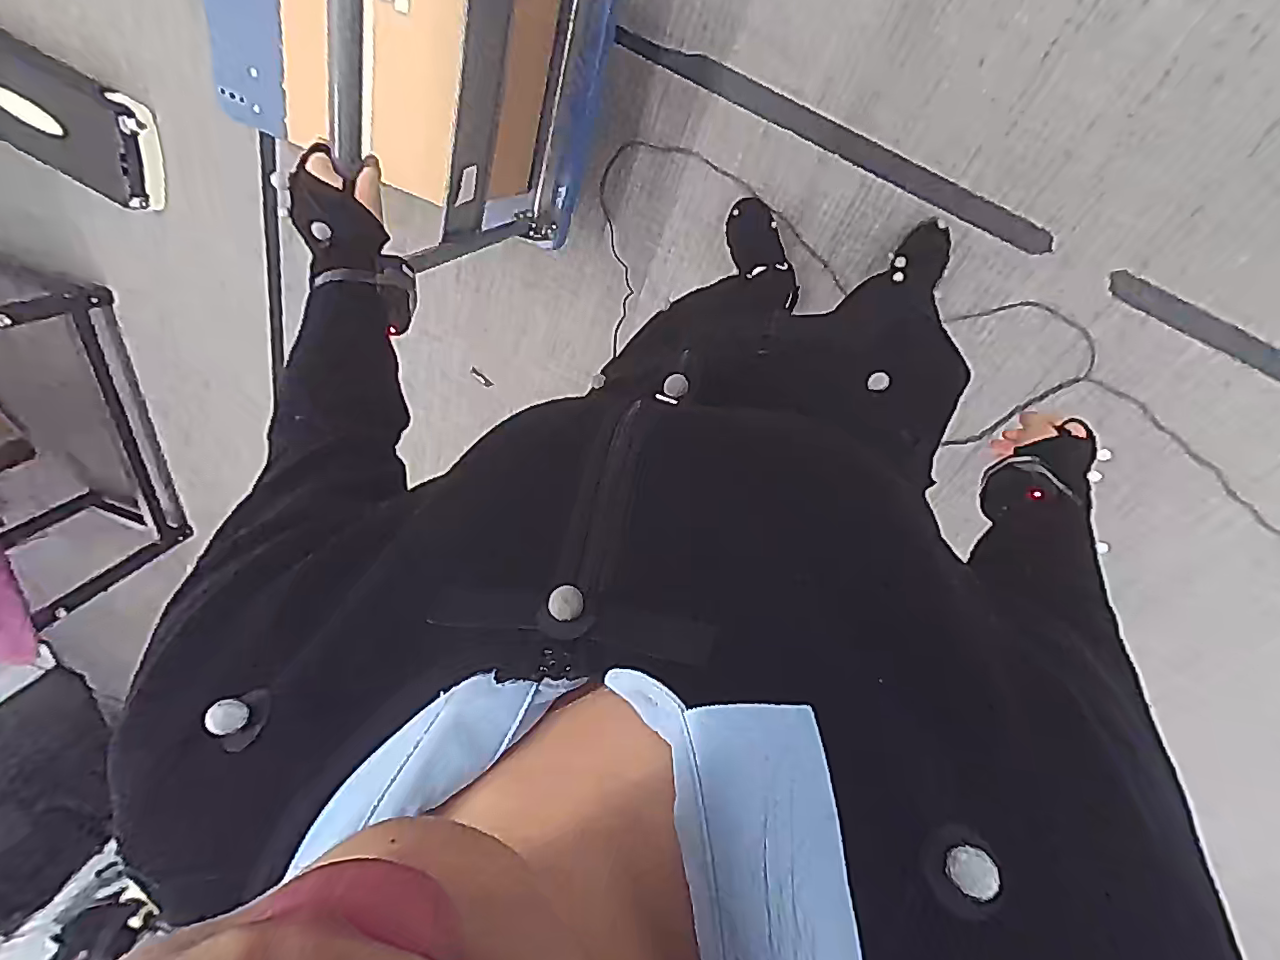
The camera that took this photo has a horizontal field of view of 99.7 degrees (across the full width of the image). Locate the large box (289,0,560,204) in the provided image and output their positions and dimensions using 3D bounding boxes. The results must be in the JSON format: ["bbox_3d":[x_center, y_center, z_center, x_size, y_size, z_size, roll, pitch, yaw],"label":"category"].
[{"bbox_3d":[-0.362,-0.754,0.947,0.320,0.320,0.408,23,124,3],"label":"large box"}]
